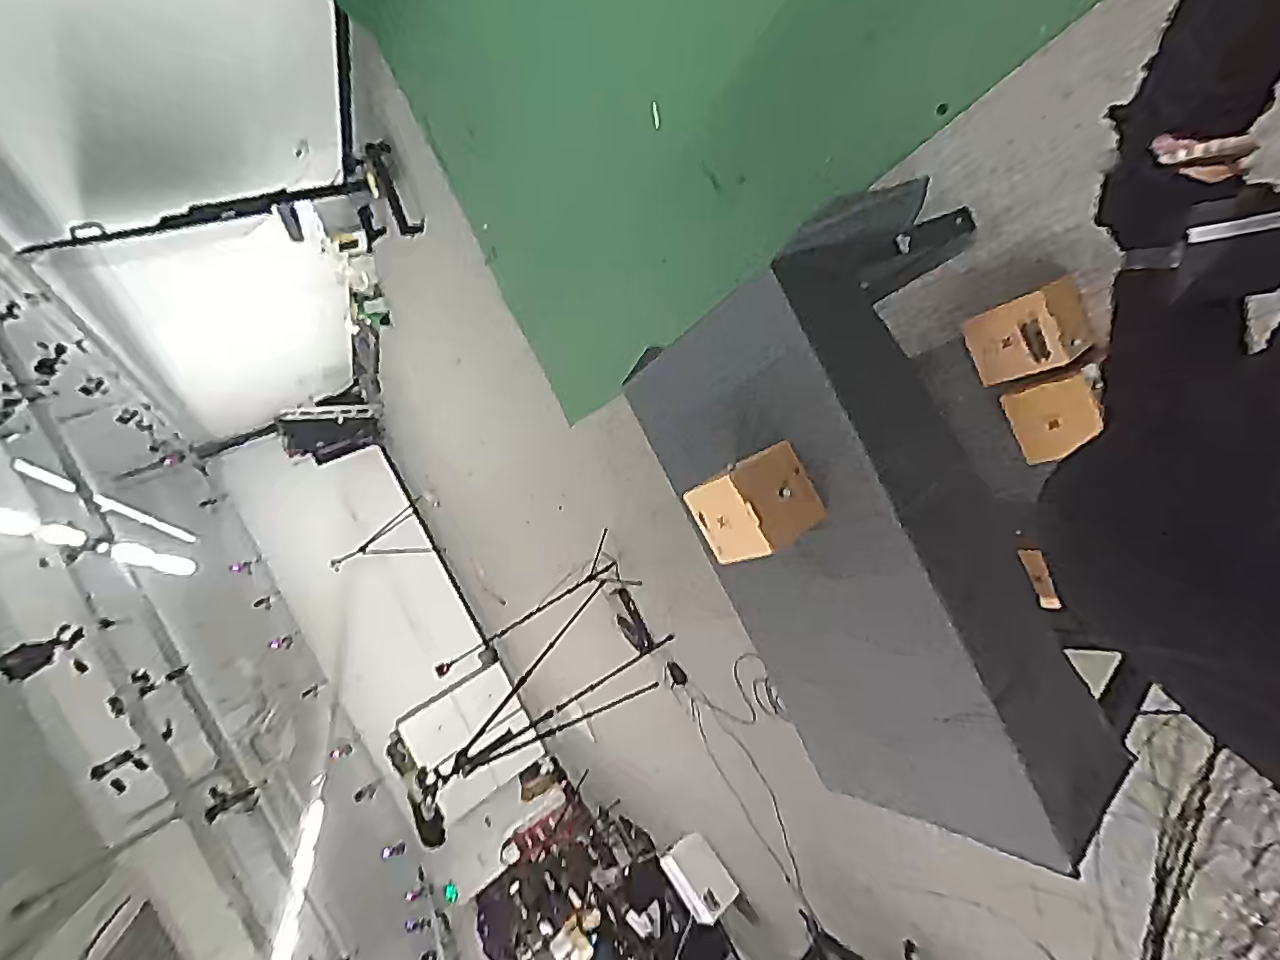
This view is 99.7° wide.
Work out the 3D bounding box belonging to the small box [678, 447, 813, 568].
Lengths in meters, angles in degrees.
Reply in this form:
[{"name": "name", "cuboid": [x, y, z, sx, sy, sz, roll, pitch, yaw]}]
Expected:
[{"name": "small box", "cuboid": [0.213, 0.053, 1.069, 0.168, 0.176, 0.179, 61, 149, 1]}]
